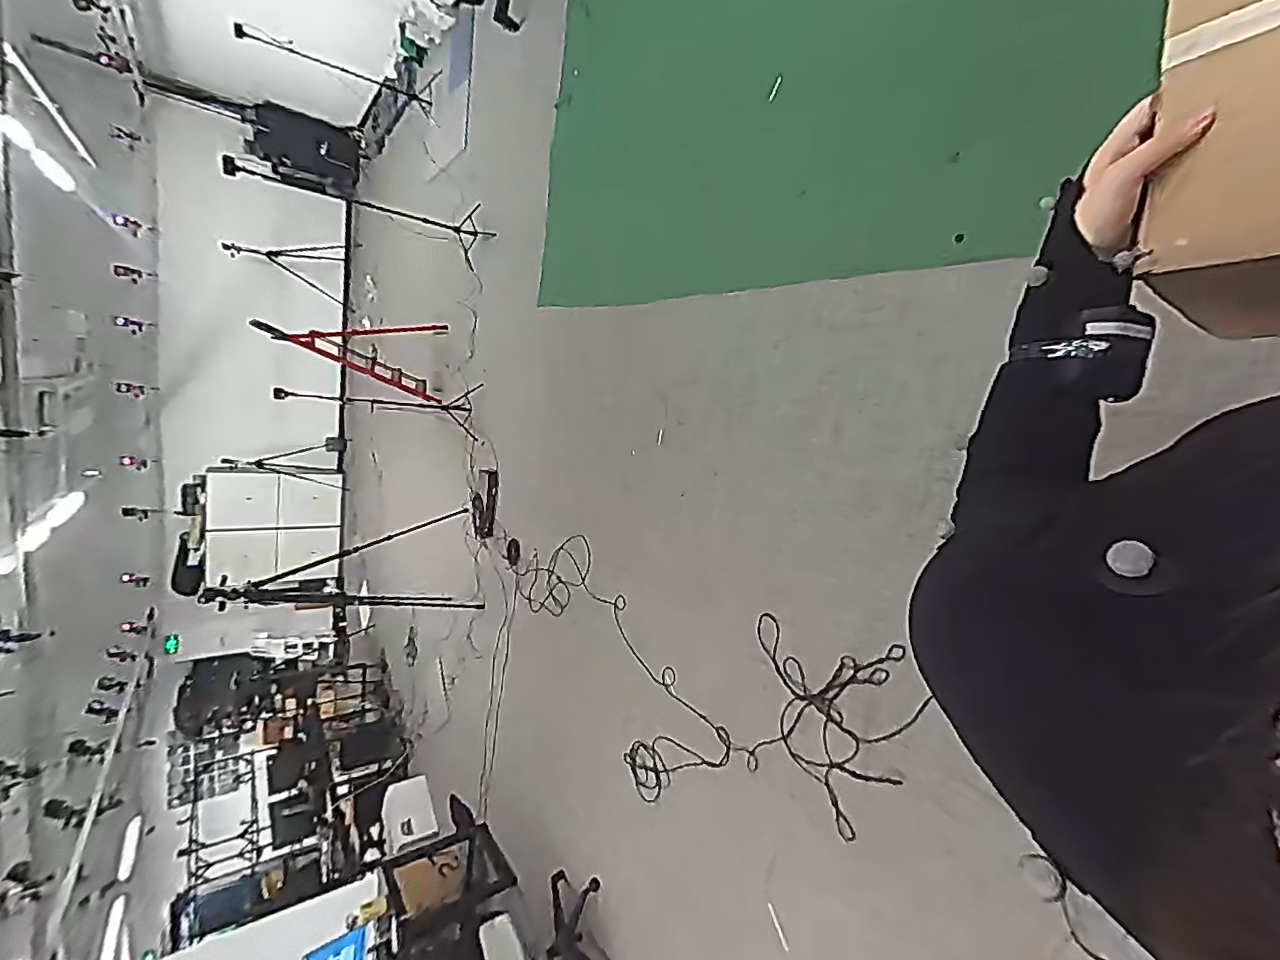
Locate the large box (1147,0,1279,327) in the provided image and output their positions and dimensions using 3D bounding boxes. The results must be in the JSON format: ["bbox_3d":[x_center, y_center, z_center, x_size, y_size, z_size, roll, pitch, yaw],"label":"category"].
[{"bbox_3d":[0.636,-0.293,0.326,0.408,0.320,0.320,11,98,56],"label":"large box"}]
